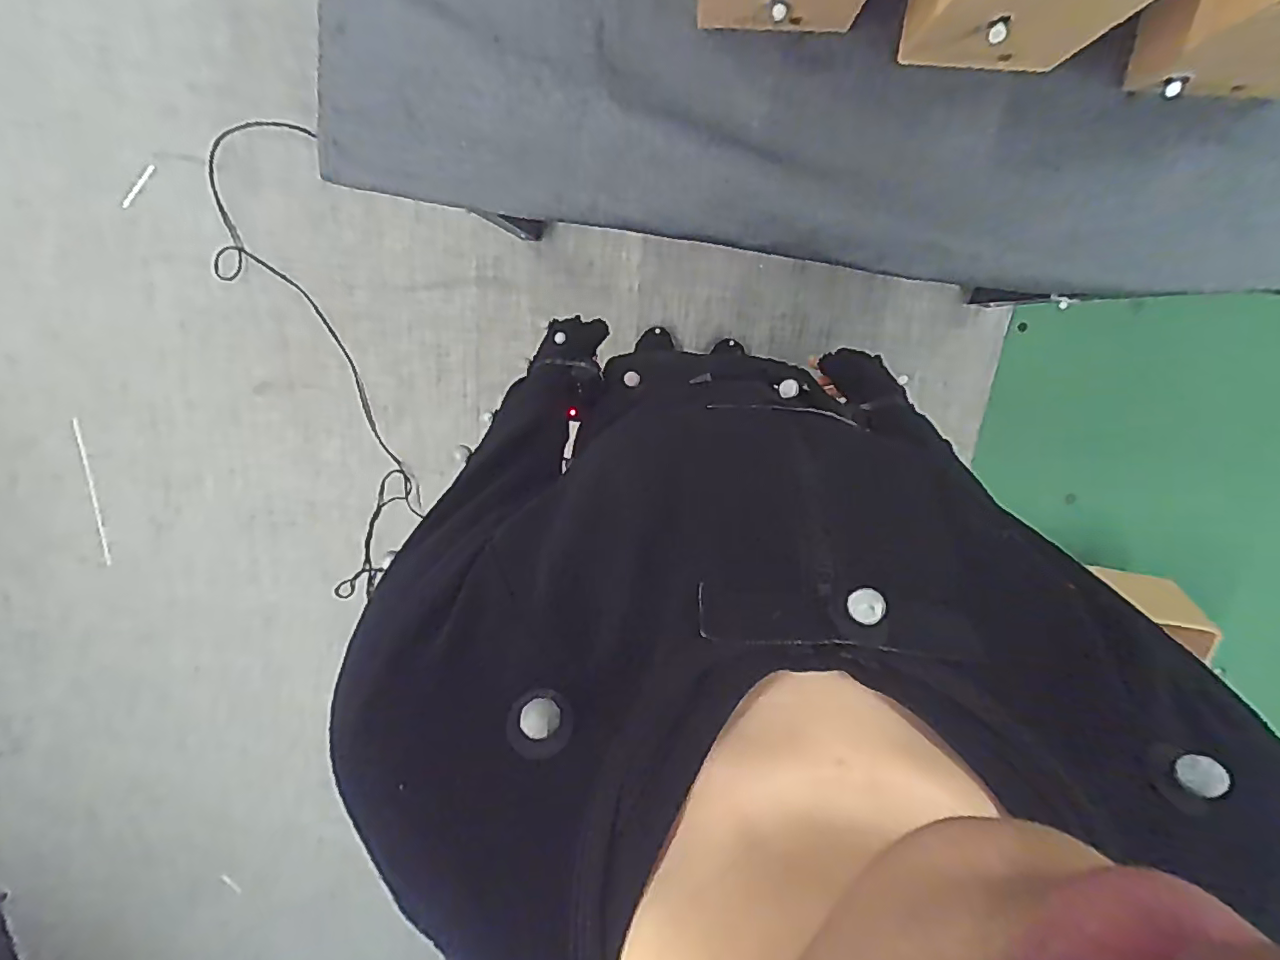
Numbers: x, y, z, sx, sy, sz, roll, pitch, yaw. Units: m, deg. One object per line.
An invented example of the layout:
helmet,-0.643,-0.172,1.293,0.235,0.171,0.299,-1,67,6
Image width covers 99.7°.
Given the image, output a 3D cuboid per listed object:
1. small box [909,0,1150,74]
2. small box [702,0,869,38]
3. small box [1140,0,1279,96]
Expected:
small box,0.366,-0.500,0.486,0.168,0.176,0.179,5,105,3
small box,0.147,-0.547,0.487,0.168,0.176,0.179,4,106,3
small box,0.605,-0.469,0.475,0.168,0.176,0.179,5,105,3
